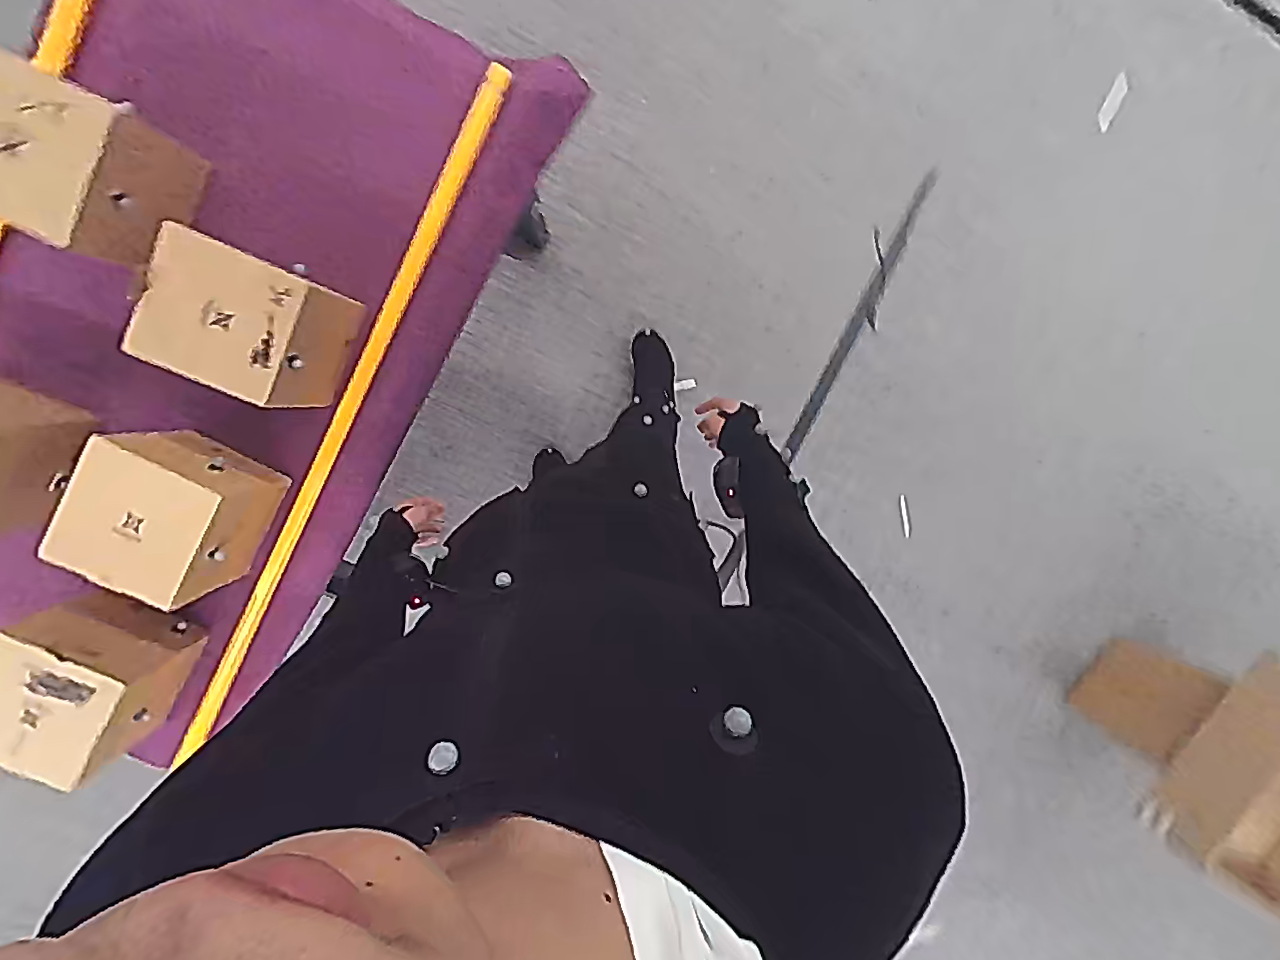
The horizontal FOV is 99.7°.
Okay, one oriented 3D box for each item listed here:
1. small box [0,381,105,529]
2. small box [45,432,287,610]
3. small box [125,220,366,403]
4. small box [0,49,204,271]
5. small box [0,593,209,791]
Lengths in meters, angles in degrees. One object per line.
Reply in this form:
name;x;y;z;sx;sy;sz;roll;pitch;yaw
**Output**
small box;-0.894;-0.035;0.720;0.179;0.176;0.168;23;97;-9
small box;-0.639;0.045;0.757;0.168;0.176;0.179;27;96;-9
small box;-0.512;-0.209;0.728;0.179;0.176;0.168;23;96;-6
small box;-0.708;-0.389;0.682;0.168;0.176;0.179;25;96;-10
small box;-0.779;0.290;0.779;0.168;0.176;0.179;30;95;-9
